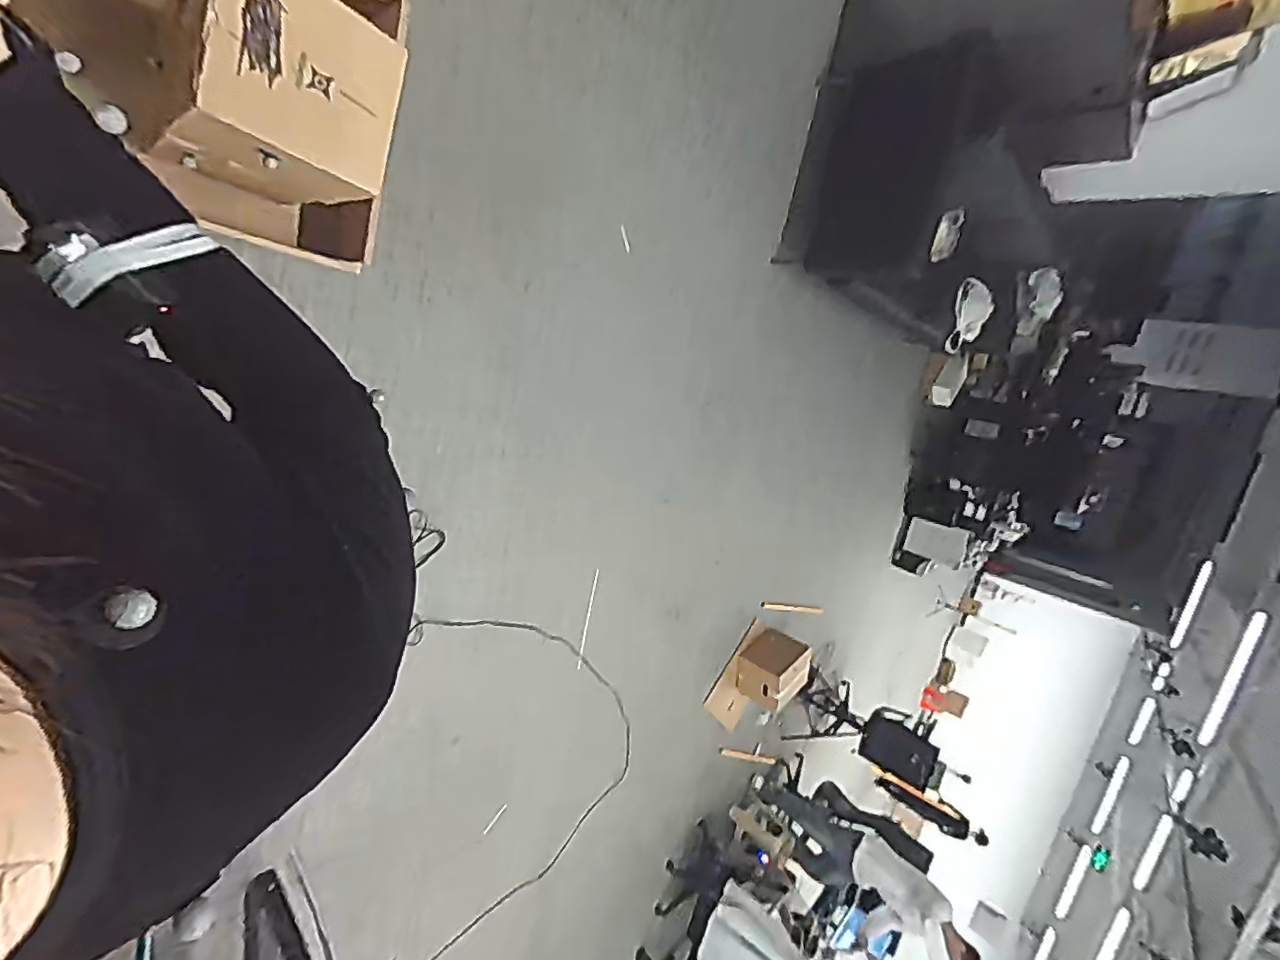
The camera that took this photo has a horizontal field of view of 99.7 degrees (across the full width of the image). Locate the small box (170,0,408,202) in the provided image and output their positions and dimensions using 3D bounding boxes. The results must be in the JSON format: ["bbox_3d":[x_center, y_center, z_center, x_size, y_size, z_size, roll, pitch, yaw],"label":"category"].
[{"bbox_3d":[-0.398,-0.433,0.610,0.179,0.176,0.168,7,100,-50],"label":"small box"}]
